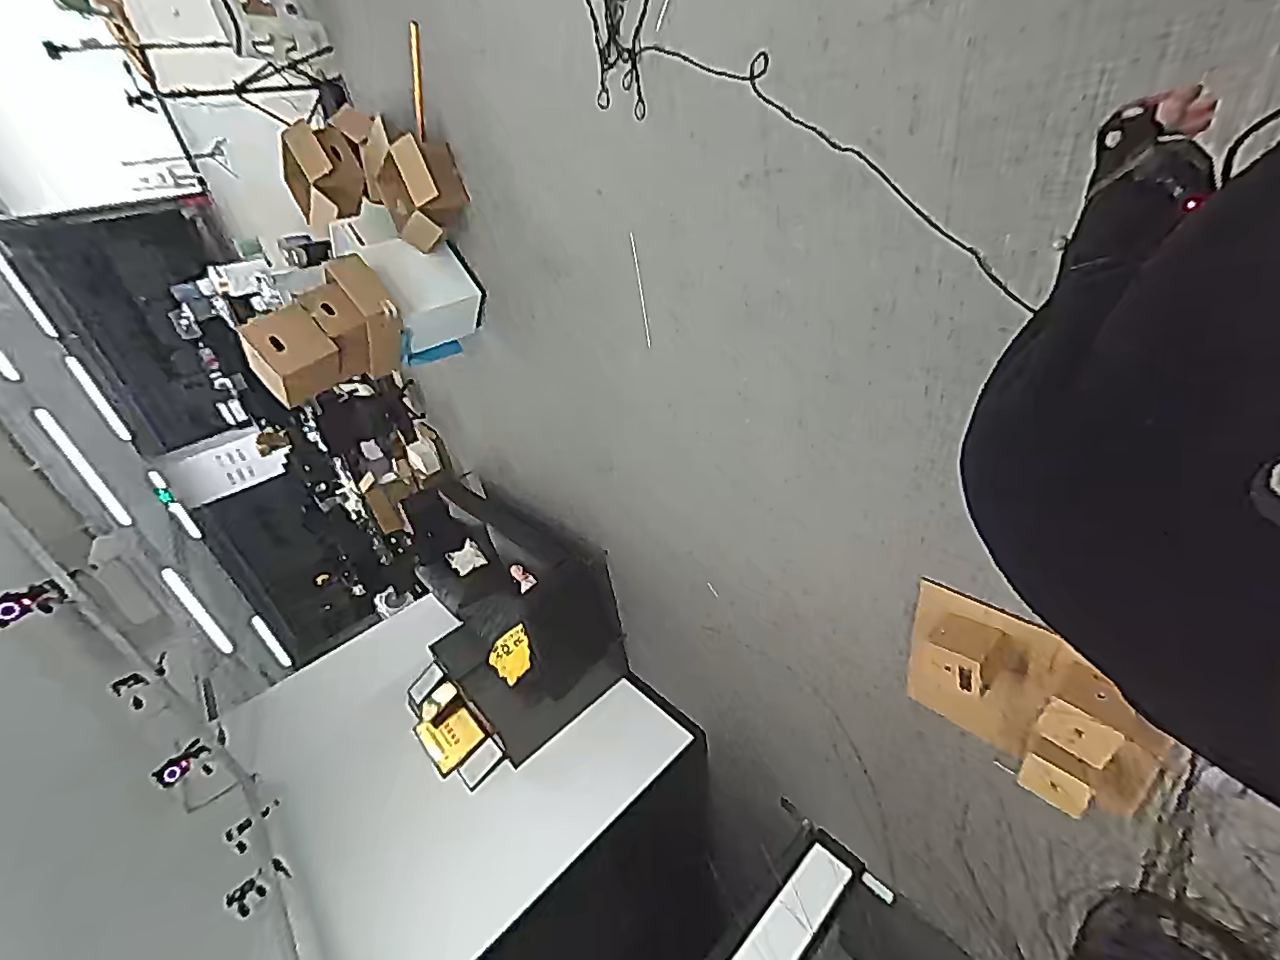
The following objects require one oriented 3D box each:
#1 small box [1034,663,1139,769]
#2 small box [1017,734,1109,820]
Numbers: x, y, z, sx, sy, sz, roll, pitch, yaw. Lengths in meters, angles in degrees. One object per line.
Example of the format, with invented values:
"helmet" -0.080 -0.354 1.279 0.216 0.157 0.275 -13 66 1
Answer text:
"small box" 1.253 0.653 1.515 0.168 0.176 0.179 30 139 40
"small box" 1.294 0.877 1.651 0.168 0.176 0.179 26 136 43
